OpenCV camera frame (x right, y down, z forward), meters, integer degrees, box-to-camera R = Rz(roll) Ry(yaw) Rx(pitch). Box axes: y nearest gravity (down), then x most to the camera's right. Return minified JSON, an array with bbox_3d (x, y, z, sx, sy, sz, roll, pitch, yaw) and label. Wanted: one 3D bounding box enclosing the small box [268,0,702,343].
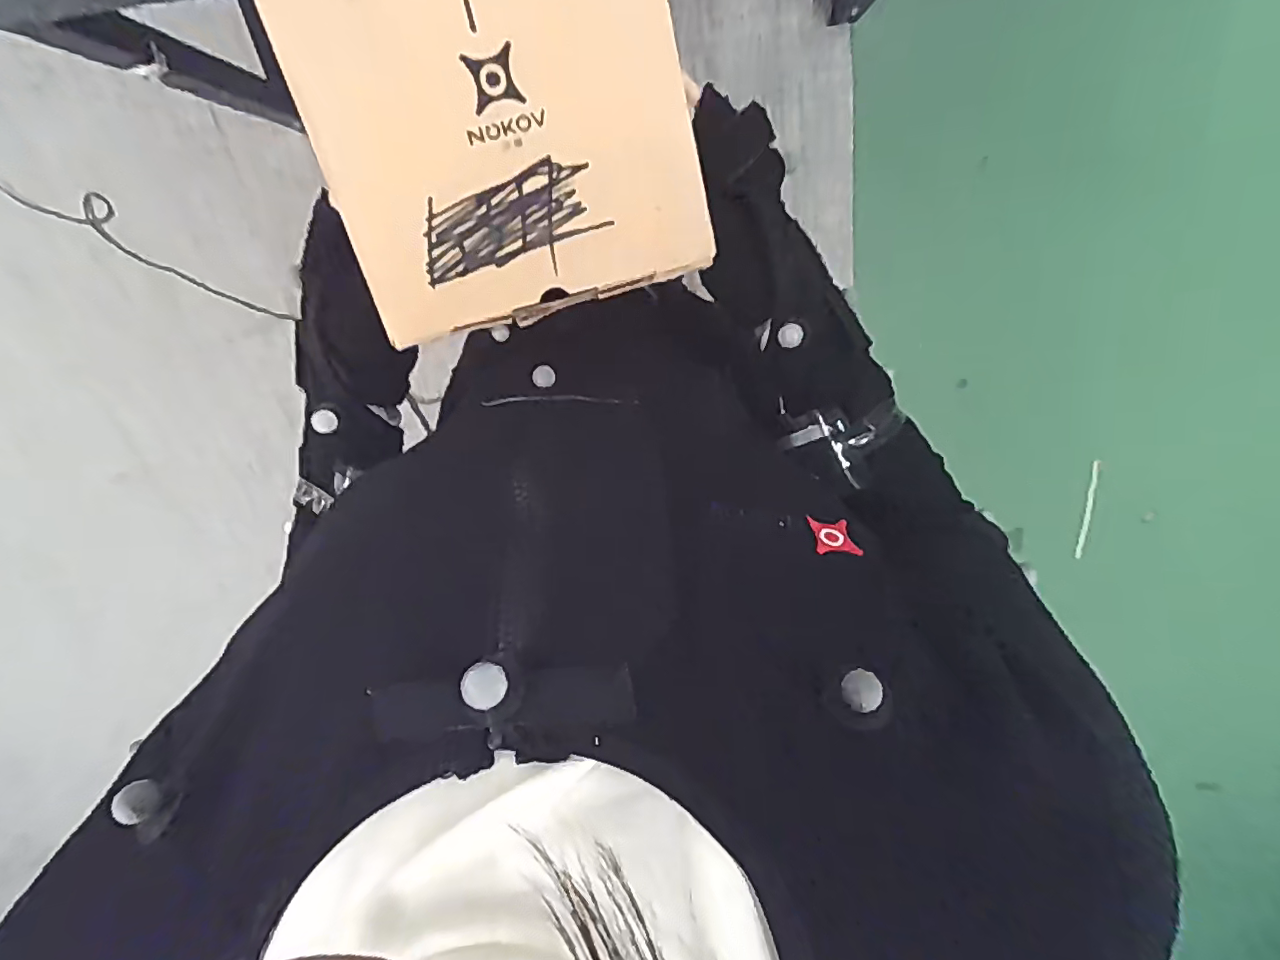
[{"bbox_3d":[-0.071,-0.192,0.320,0.168,0.176,0.179,-14,109,-2],"label":"small box"}]
